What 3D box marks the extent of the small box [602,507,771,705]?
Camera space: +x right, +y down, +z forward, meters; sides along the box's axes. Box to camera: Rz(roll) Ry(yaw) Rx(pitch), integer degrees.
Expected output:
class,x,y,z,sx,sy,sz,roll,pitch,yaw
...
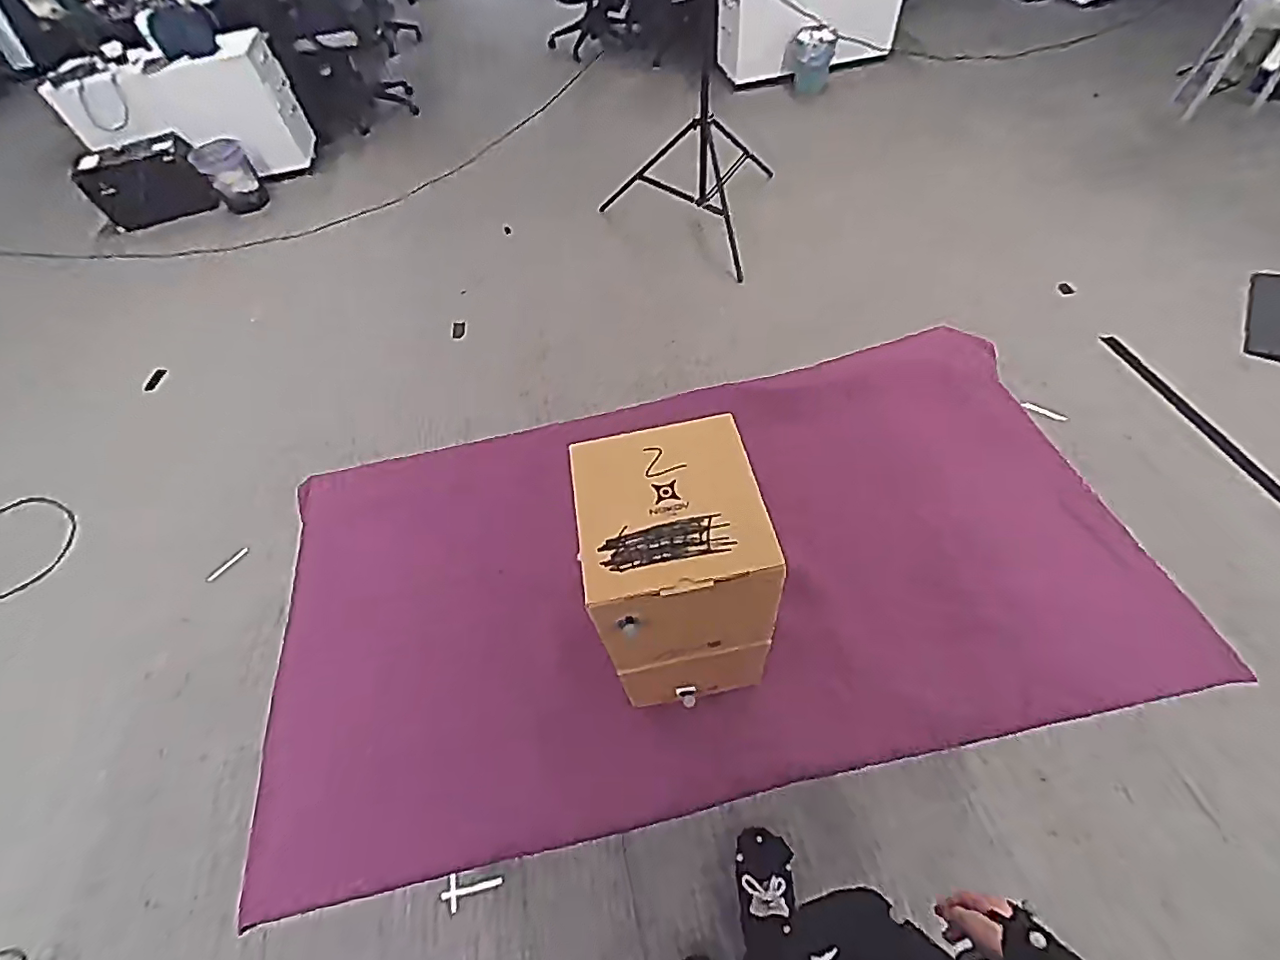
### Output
class,x,y,z,sx,sy,sz,roll,pitch,yaw
small box,0.052,0.161,0.679,0.168,0.176,0.179,-11,55,-1
